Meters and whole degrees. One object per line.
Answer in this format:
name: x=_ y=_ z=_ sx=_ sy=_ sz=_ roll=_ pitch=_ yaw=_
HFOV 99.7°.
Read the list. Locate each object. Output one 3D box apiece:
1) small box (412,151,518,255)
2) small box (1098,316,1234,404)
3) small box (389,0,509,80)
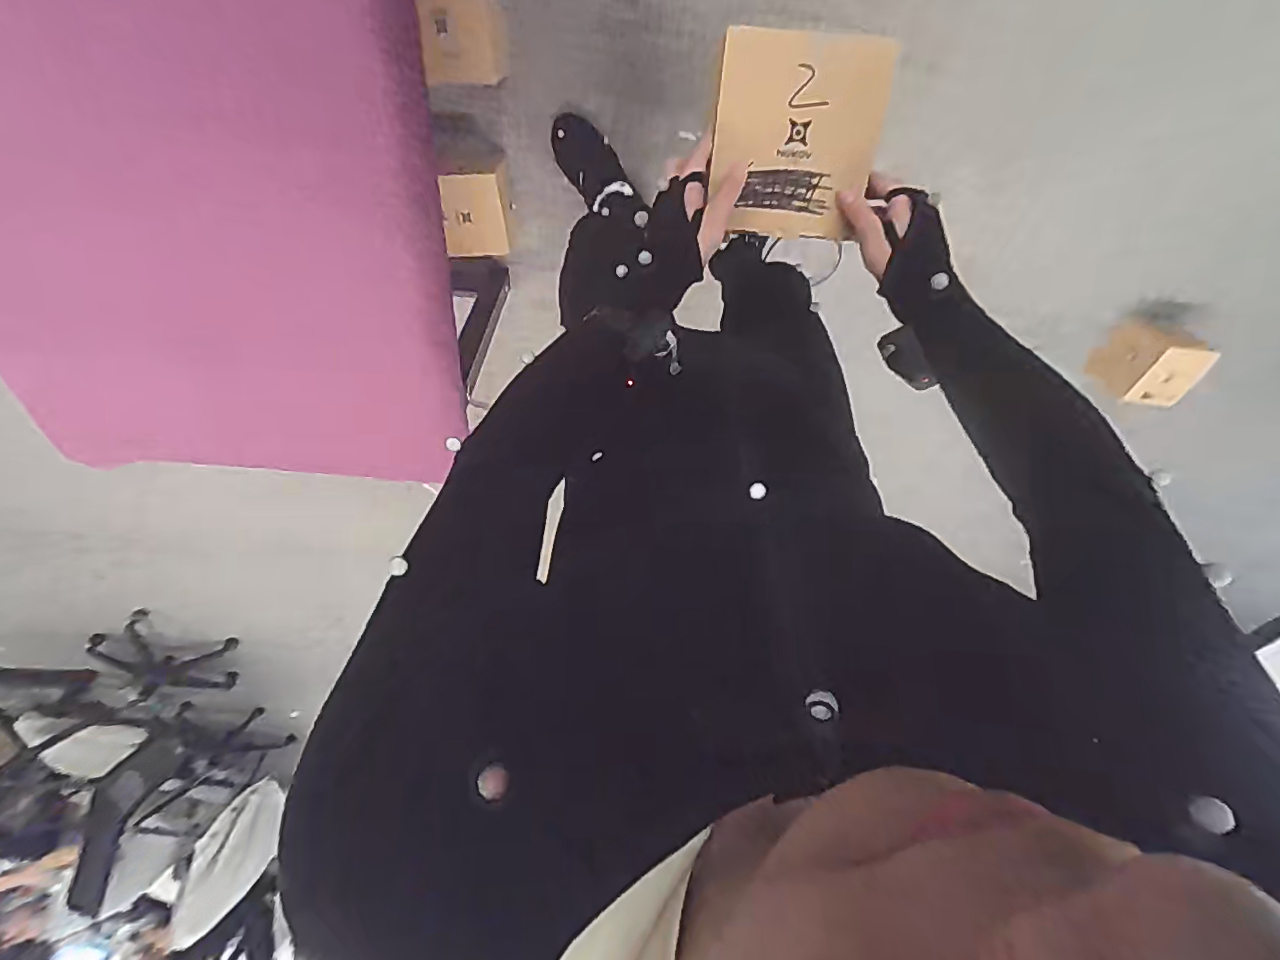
small box: x=-0.373 y=-0.615 z=1.196 sx=0.179 sy=0.176 sz=0.168 roll=-2 pitch=133 yaw=0
small box: x=1.439 y=-0.335 z=1.498 sx=0.168 sy=0.176 sz=0.179 roll=5 pitch=132 yaw=-6
small box: x=-0.342 y=-0.847 z=0.980 sx=0.168 sy=0.176 sz=0.179 roll=0 pitch=134 yaw=0
